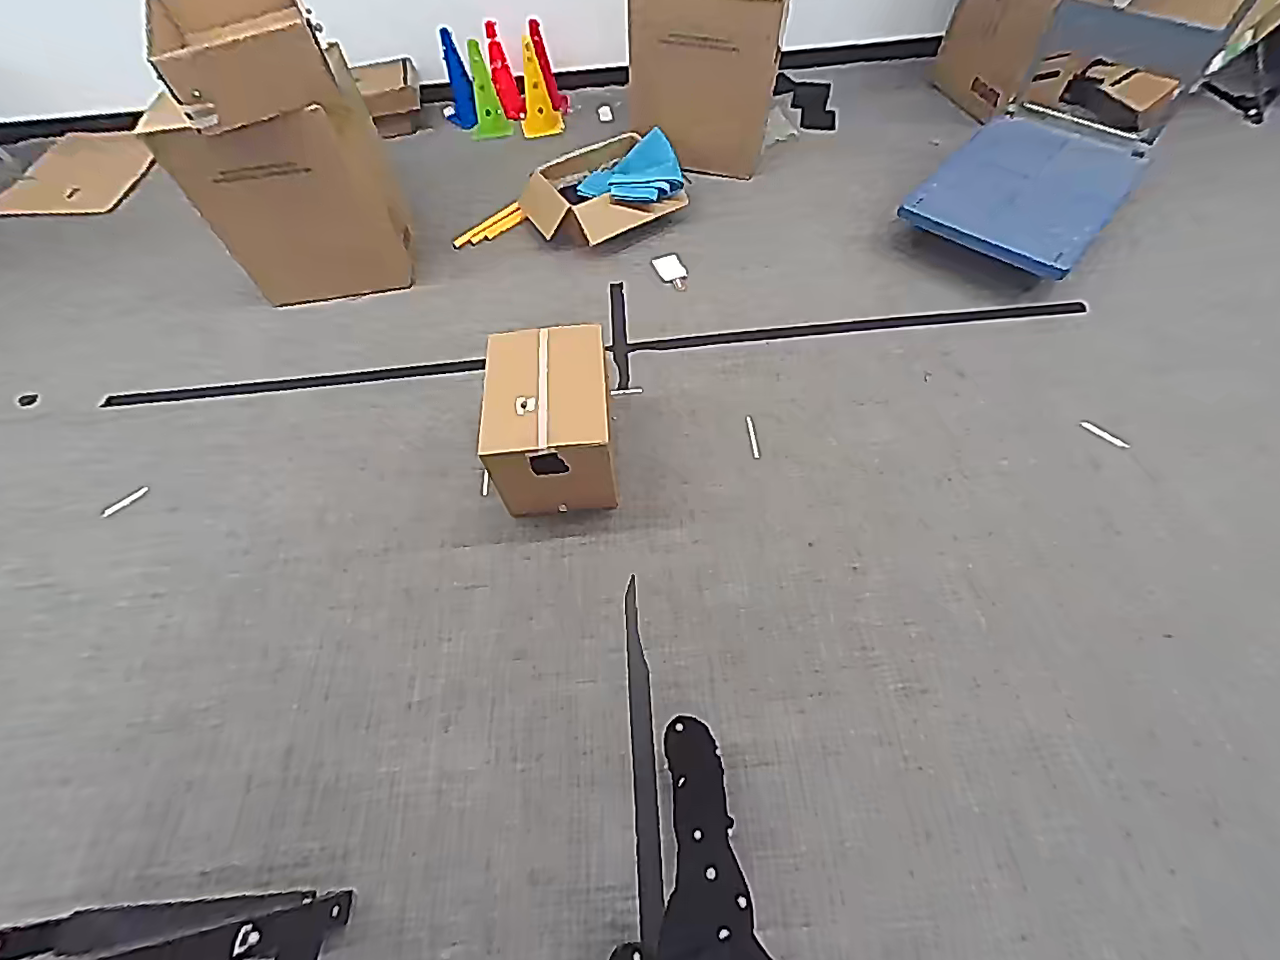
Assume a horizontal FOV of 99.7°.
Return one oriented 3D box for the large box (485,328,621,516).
[{"bbox_3d":[-0.228,-0.156,1.498,0.320,0.320,0.408,-7,59,0],"label":"large box"}]
